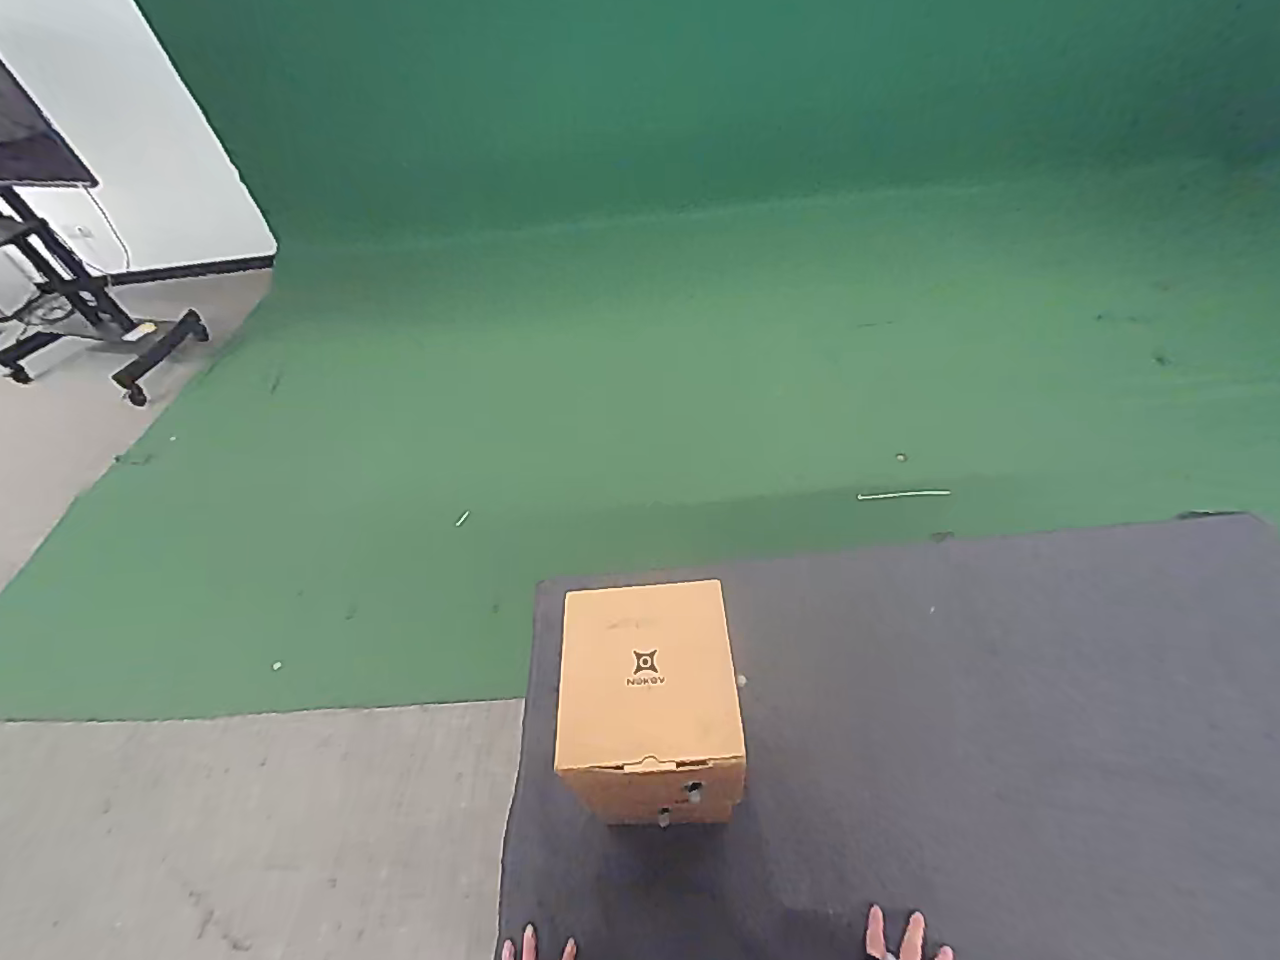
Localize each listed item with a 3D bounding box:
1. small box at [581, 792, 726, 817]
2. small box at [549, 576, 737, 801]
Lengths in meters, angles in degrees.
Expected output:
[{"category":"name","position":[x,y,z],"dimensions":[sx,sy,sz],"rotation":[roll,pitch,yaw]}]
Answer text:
[{"category":"small box","position":[0.022,0.325,0.701],"dimensions":[0.168,0.176,0.179],"rotation":[-4,48,4]},{"category":"small box","position":[0.008,0.225,0.572],"dimensions":[0.168,0.176,0.179],"rotation":[-5,46,2]}]
